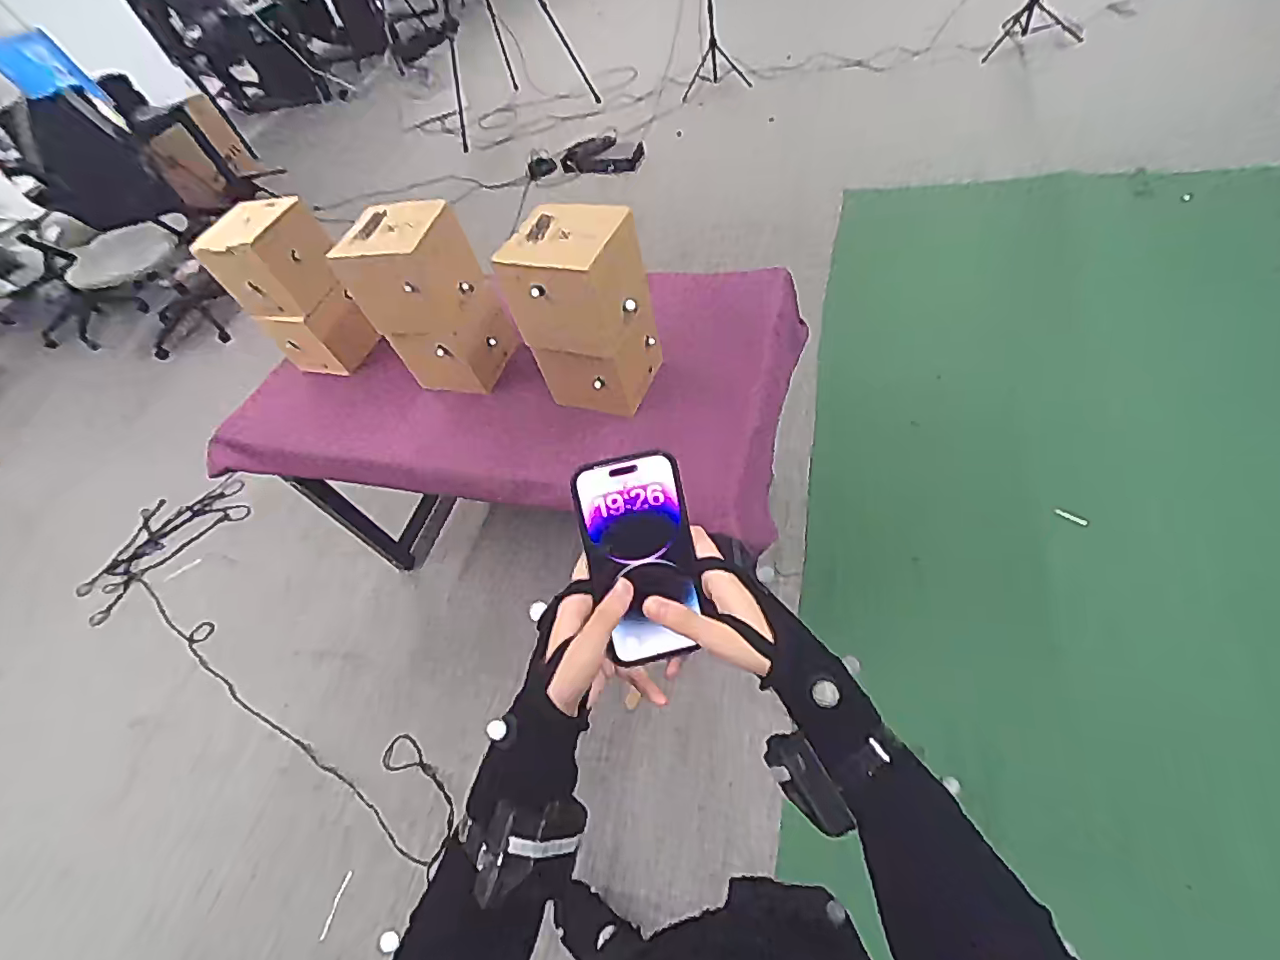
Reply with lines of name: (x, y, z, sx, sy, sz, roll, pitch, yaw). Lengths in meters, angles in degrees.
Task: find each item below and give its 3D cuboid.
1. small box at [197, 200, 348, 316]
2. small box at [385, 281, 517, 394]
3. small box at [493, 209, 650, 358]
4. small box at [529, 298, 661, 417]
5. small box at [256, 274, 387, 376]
small box: (-0.777, -0.472, 1.166, 0.168, 0.176, 0.179, 5, 56, 16)
small box: (-0.389, -0.300, 1.152, 0.179, 0.176, 0.168, 8, 57, 19)
small box: (-0.102, -0.323, 0.895, 0.179, 0.176, 0.168, 14, 59, 22)
small box: (-0.075, -0.241, 1.035, 0.179, 0.176, 0.168, 14, 58, 23)
small box: (-0.747, -0.370, 1.292, 0.168, 0.176, 0.179, 9, 57, 19)
